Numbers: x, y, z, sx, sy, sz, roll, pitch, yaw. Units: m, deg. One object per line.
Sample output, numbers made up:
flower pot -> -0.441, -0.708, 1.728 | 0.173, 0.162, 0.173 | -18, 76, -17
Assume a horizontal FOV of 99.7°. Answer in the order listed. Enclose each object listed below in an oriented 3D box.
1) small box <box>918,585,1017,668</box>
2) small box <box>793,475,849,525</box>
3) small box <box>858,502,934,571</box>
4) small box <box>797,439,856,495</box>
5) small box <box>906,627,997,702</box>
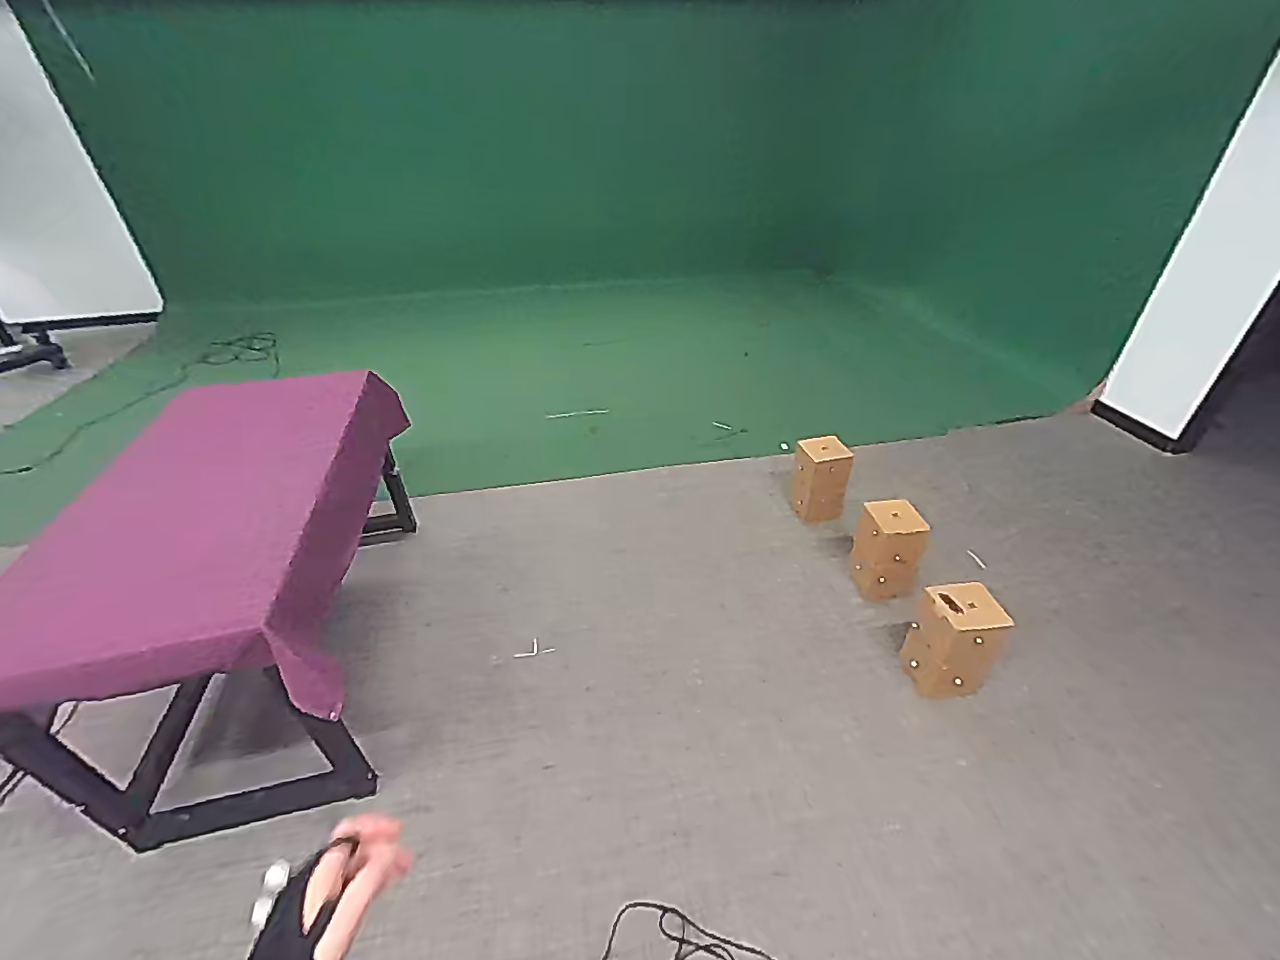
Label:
small box -> 0.943, 0.432, 1.583 | 0.179, 0.176, 0.168 | -4, 36, -4
small box -> 0.784, 0.082, 2.365 | 0.179, 0.176, 0.168 | -7, 37, -8
small box -> 0.895, 0.200, 1.912 | 0.168, 0.176, 0.179 | -4, 36, -4
small box -> 0.776, -0.052, 2.269 | 0.179, 0.176, 0.168 | -8, 37, -9
small box -> 0.953, 0.567, 1.679 | 0.179, 0.176, 0.168 | -6, 36, -4
